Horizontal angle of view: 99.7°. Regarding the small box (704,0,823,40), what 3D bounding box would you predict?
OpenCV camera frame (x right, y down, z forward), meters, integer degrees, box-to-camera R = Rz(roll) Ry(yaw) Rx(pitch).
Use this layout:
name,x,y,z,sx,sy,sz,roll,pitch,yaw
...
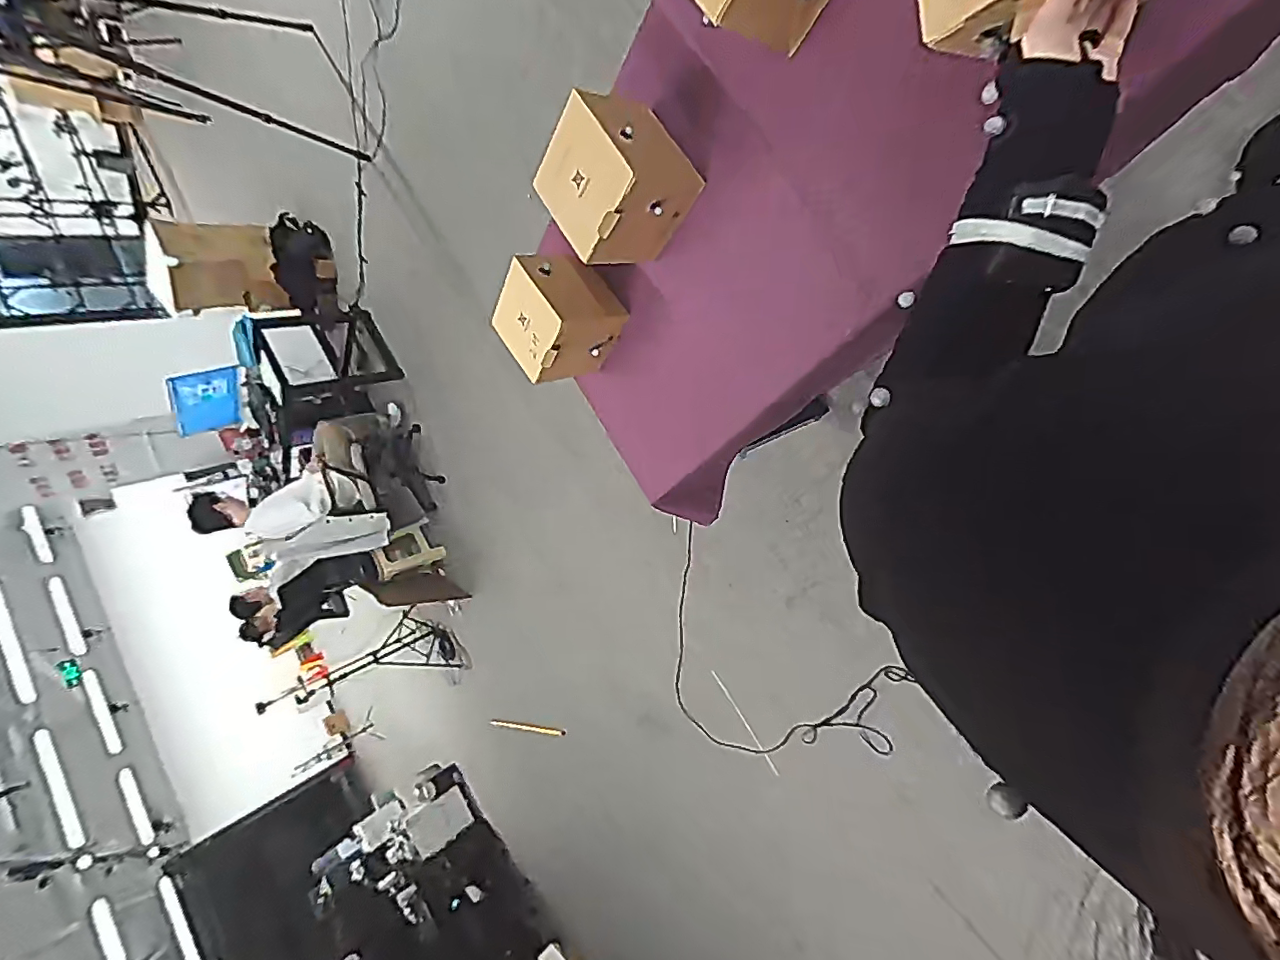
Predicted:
name,x,y,z,sx,sy,sz,roll,pitch,yaw
small box,0.139,-0.656,0.621,0.179,0.176,0.168,57,138,11

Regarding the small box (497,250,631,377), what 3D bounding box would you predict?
name,x,y,z,sx,sy,sz,roll,pitch,yaw
small box,-0.152,-0.332,1.077,0.179,0.176,0.168,54,138,14

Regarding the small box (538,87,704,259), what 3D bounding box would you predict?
name,x,y,z,sx,sy,sz,roll,pitch,yaw
small box,-0.029,-0.487,0.877,0.179,0.176,0.168,58,137,10
